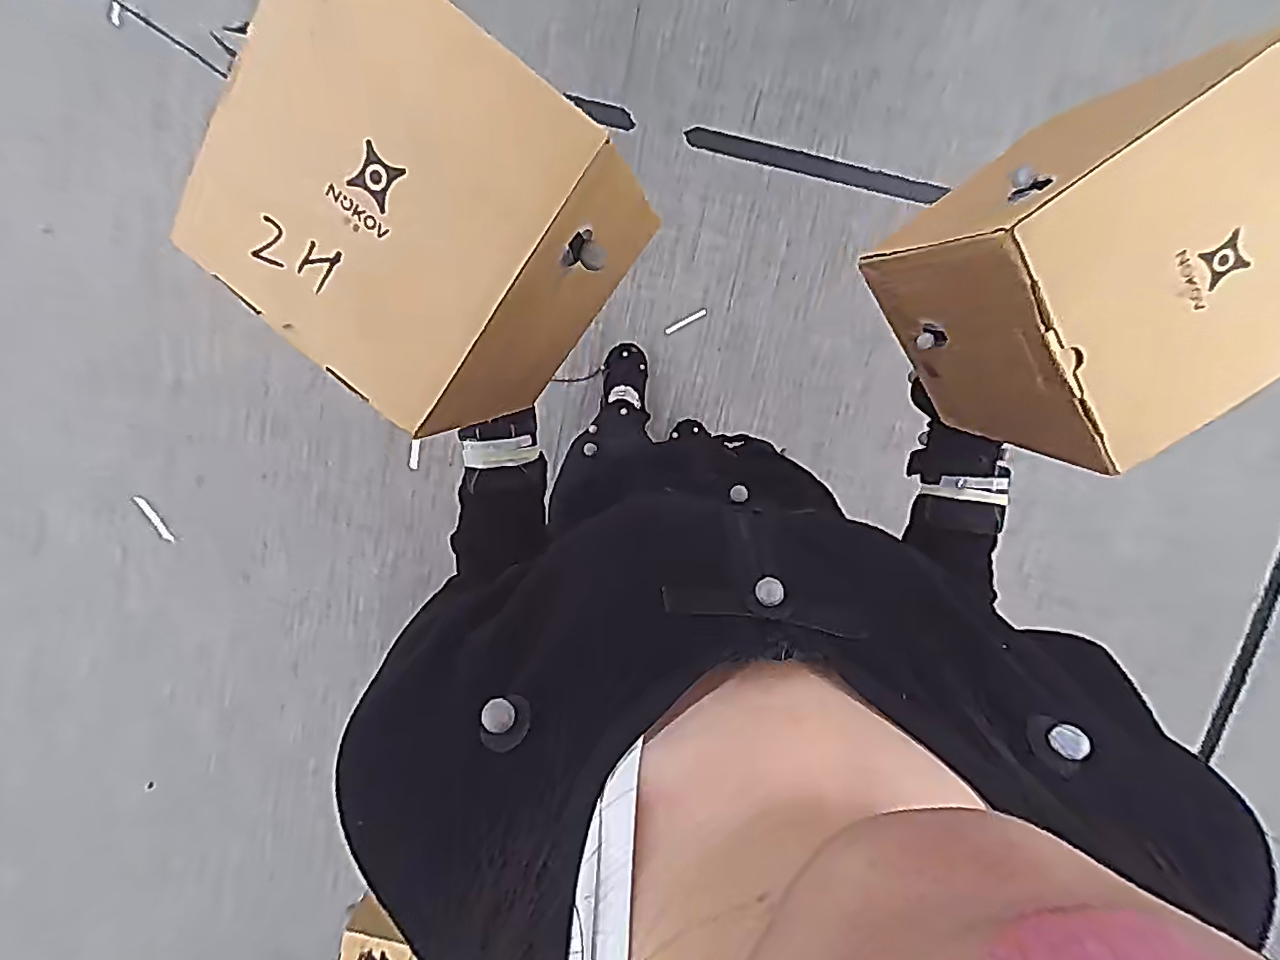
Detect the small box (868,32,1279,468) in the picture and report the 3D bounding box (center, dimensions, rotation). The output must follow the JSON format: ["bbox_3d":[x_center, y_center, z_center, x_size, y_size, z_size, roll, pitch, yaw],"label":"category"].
[{"bbox_3d":[0.296,-0.141,0.365,0.179,0.176,0.168,-35,107,7],"label":"small box"}]

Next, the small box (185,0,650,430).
[{"bbox_3d":[-0.109,-0.158,0.334,0.168,0.176,0.179,39,107,0],"label":"small box"}]
